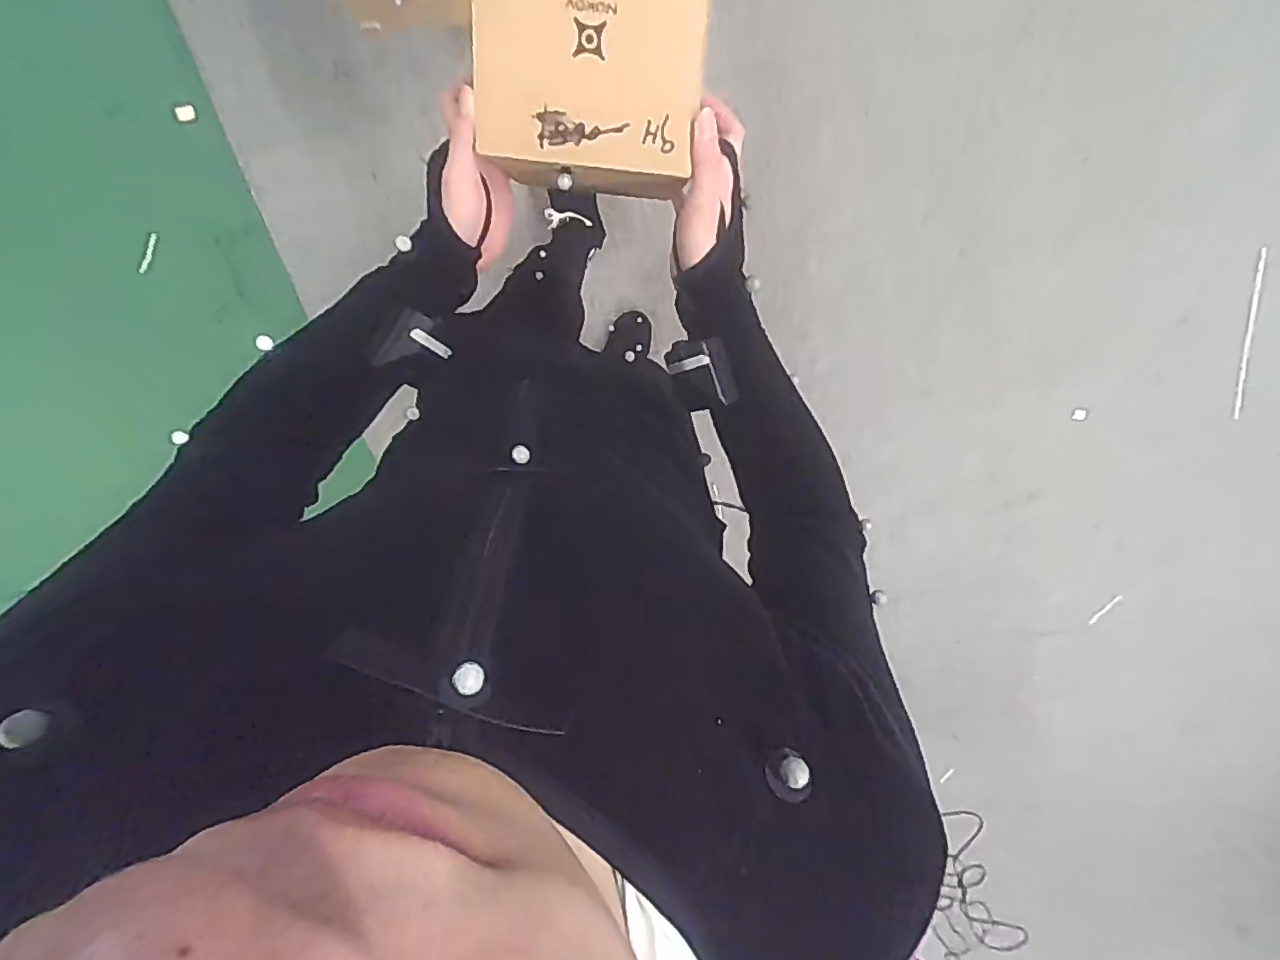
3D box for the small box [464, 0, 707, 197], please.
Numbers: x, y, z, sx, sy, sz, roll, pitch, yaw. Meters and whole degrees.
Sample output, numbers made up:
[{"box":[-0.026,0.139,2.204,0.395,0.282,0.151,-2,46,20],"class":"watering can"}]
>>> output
[{"box":[-0.040,-0.347,0.441,0.168,0.176,0.179,4,111,-3],"class":"small box"}]
